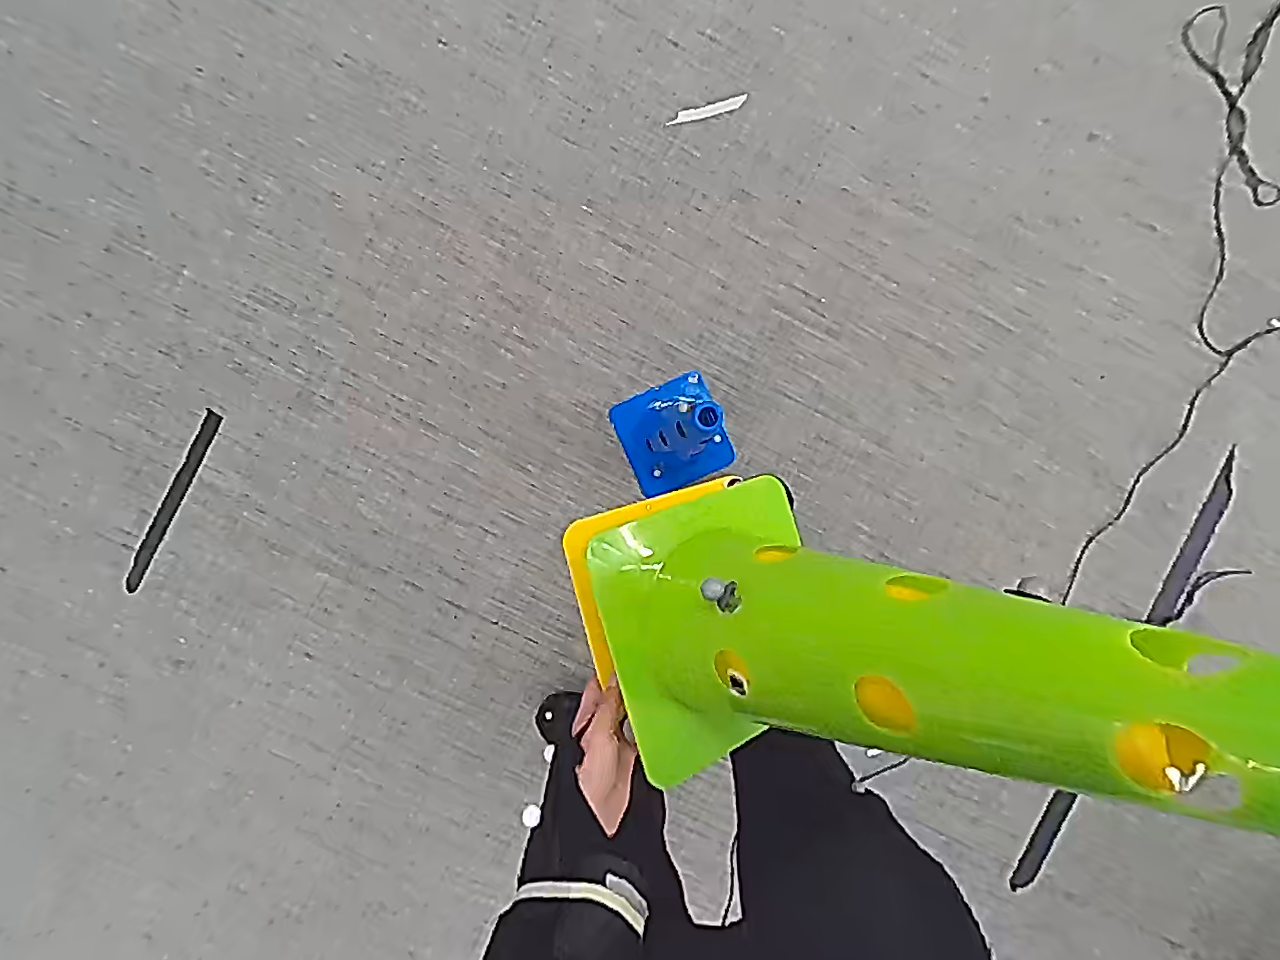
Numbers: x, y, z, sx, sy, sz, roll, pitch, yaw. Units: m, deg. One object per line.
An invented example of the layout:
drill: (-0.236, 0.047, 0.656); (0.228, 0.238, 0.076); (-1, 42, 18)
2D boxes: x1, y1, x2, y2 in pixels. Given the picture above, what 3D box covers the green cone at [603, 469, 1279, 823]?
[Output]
green cone: (0.154, 0.086, 0.281); (0.202, 0.368, 0.200); (-17, 92, -26)
